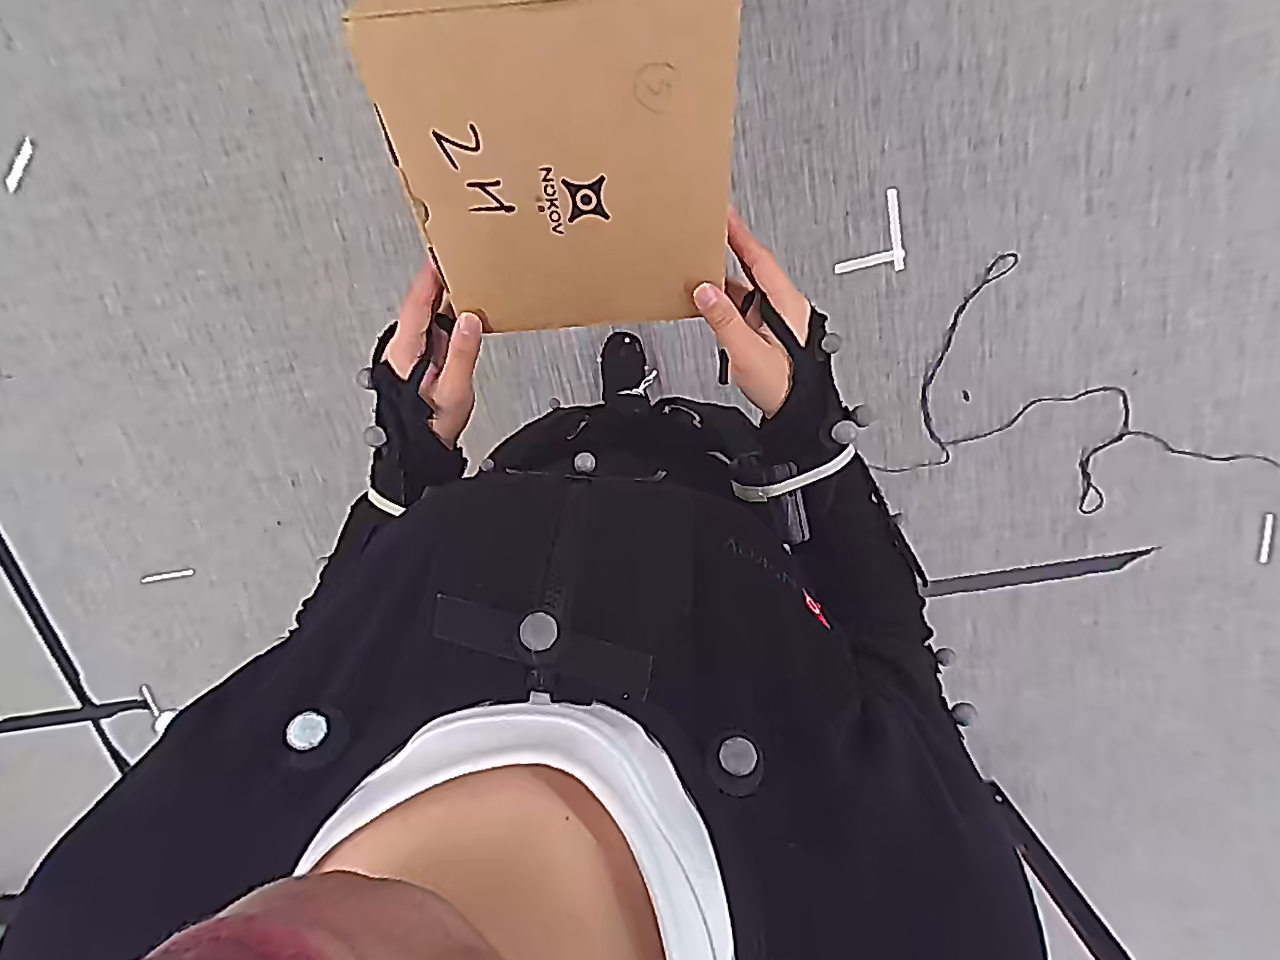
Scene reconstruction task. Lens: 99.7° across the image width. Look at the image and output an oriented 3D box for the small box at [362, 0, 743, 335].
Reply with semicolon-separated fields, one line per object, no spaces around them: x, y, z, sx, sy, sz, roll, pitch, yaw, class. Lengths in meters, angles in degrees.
-0.039;-0.217;0.351;0.179;0.176;0.168;-3;141;2;small box
